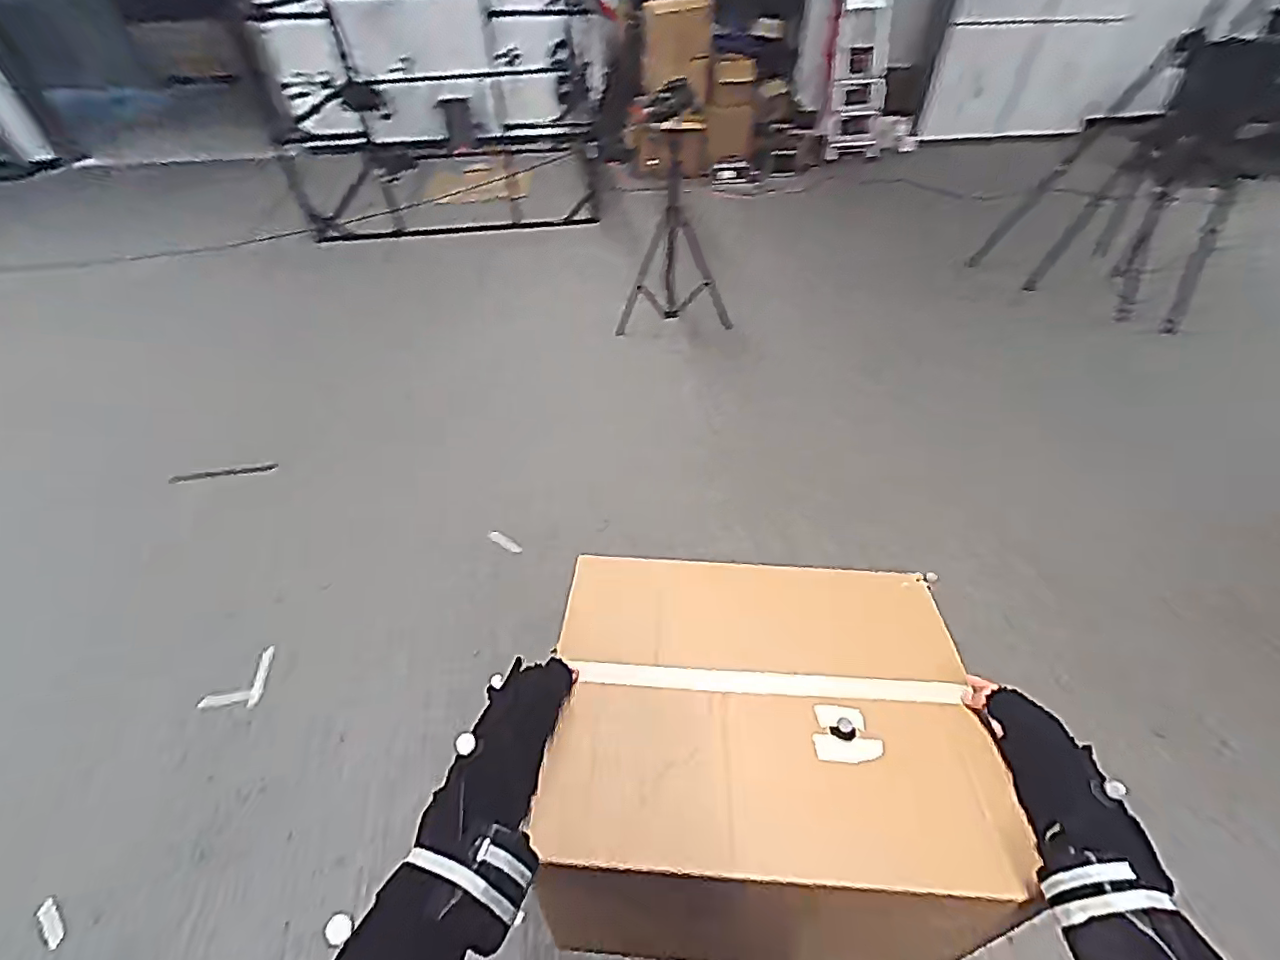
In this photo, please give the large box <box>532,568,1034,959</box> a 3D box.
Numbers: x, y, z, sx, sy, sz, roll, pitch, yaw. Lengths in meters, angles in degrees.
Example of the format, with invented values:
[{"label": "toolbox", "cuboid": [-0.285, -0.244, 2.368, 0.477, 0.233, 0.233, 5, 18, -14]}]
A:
[{"label": "large box", "cuboid": [0.113, 0.324, 0.629, 0.408, 0.320, 0.320, 2, 39, 2]}]
